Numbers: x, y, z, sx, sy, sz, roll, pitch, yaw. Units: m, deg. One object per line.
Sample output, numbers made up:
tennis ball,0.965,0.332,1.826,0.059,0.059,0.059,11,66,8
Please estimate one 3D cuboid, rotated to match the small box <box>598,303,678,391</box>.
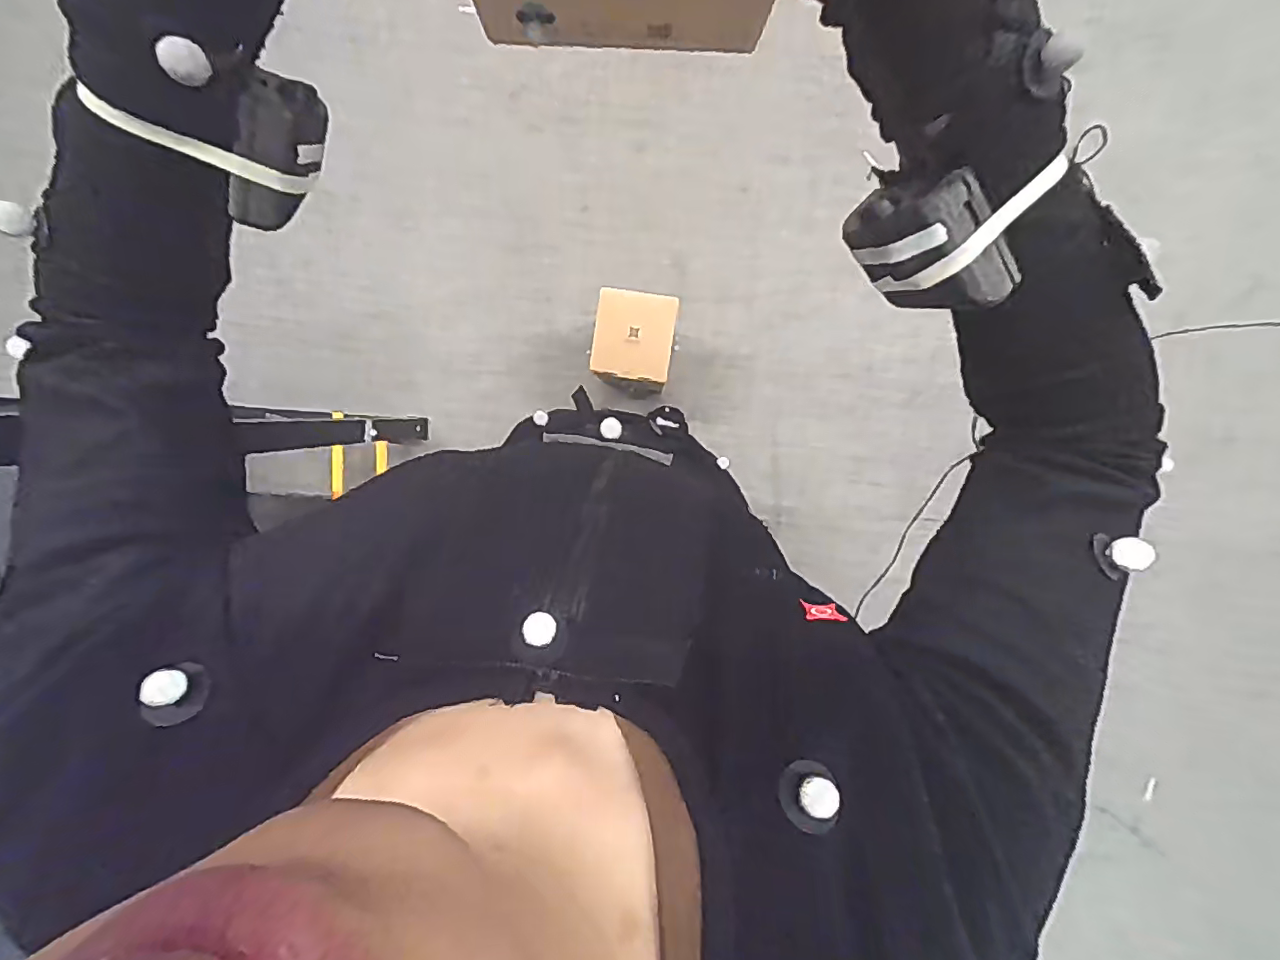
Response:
small box,-0.004,-0.328,1.366,0.168,0.176,0.179,10,97,1
